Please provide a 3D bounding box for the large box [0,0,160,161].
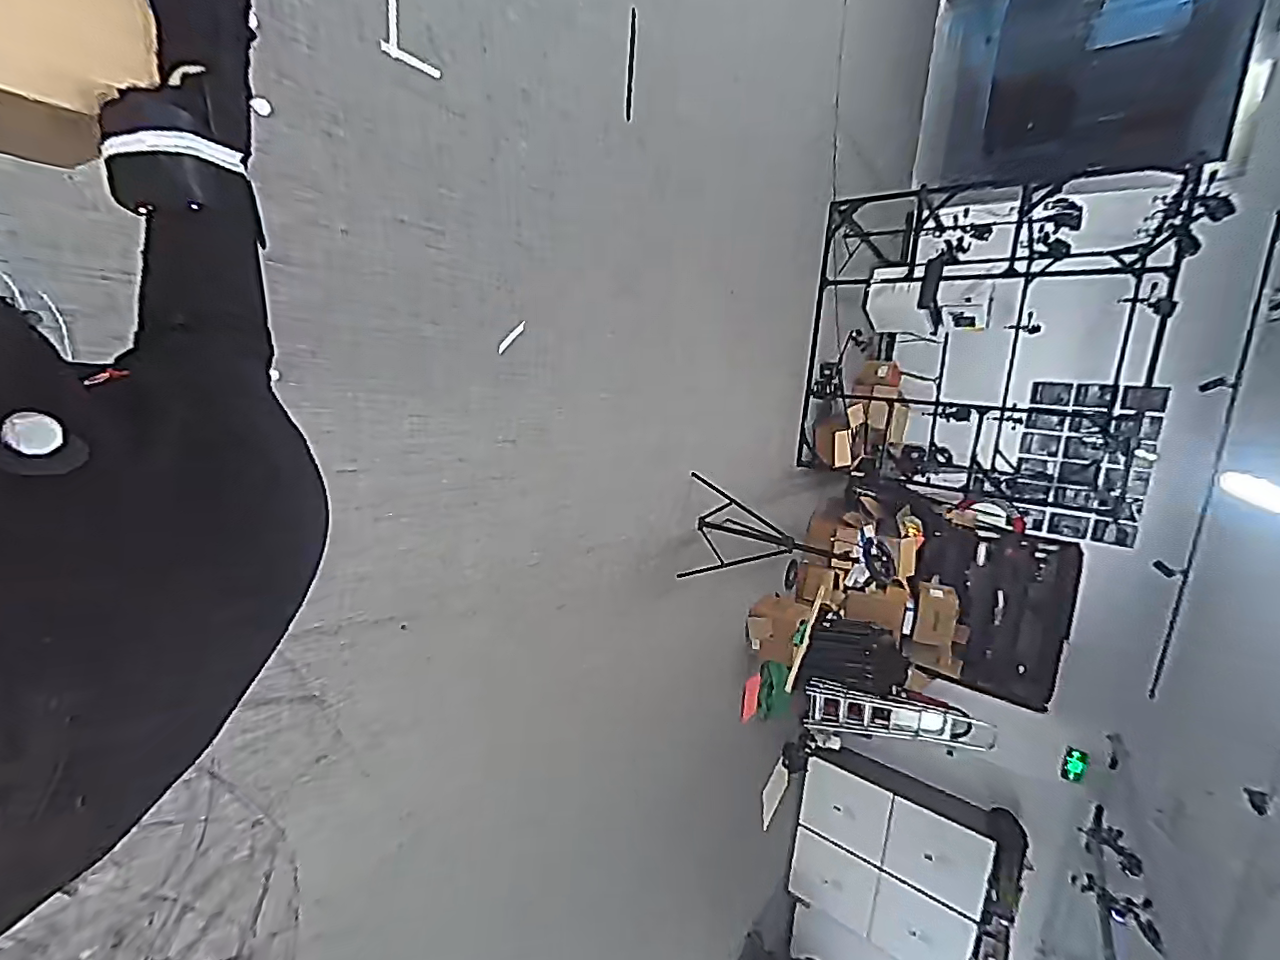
[{"bbox_3d":[-0.570,-0.411,0.282,0.408,0.320,0.320,-12,115,-53],"label":"large box"}]
